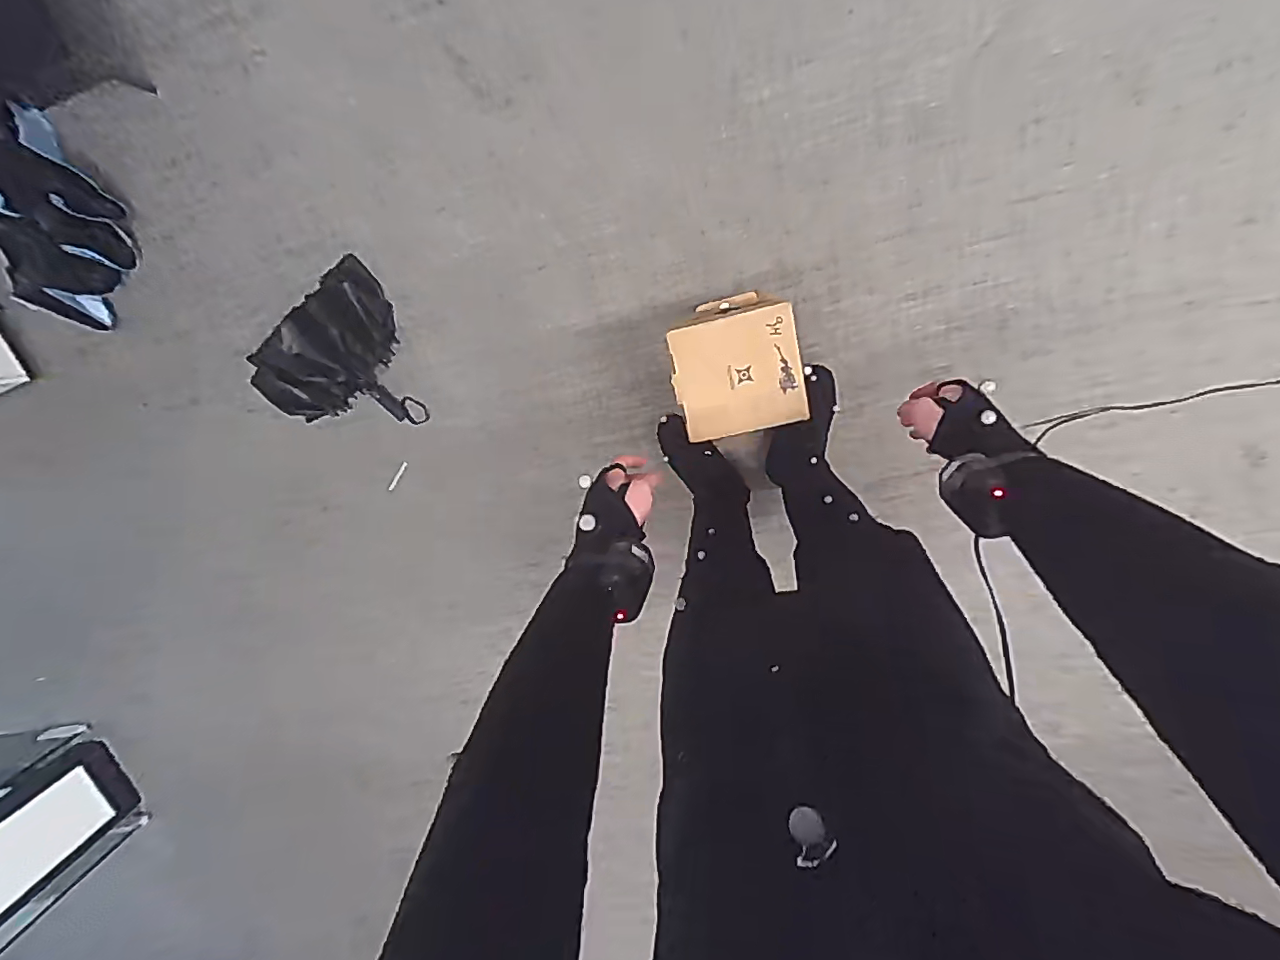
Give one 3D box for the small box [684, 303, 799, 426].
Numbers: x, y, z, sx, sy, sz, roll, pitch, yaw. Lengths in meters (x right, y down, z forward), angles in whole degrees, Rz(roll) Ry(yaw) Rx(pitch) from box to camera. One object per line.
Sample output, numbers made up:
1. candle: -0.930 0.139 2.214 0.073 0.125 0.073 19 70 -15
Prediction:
1. small box: 0.183 -0.214 0.987 0.168 0.176 0.179 -13 106 13
